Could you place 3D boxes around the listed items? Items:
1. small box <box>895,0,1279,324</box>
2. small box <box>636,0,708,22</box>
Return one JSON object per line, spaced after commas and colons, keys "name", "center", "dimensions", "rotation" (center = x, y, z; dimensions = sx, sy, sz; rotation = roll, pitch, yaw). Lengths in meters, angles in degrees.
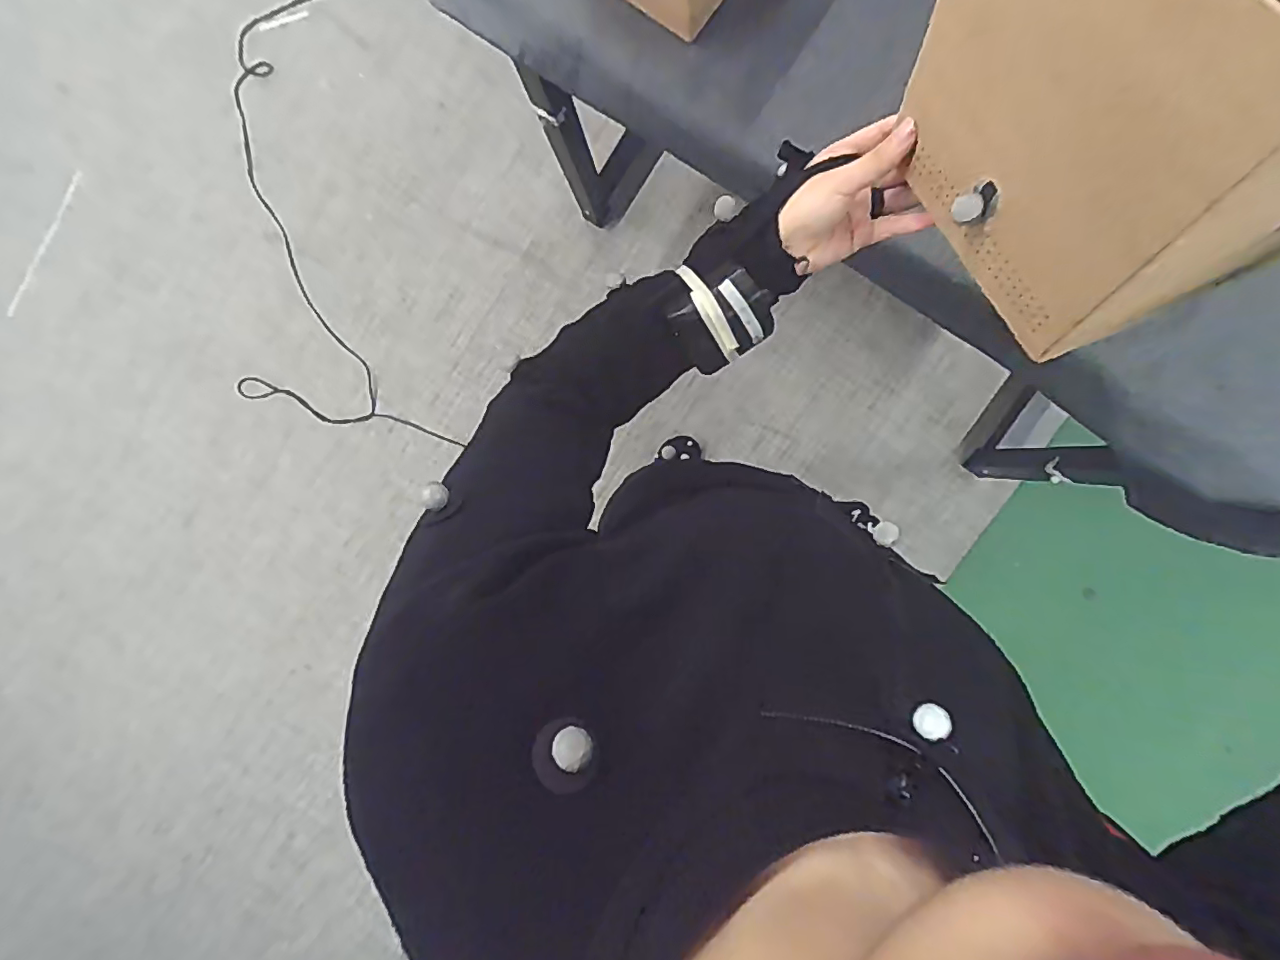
{"name": "small box", "center": [0.252, -0.197, 0.248], "dimensions": [0.168, 0.176, 0.179], "rotation": [-22, 72, 2]}
{"name": "small box", "center": [0.030, -0.614, 0.531], "dimensions": [0.179, 0.176, 0.168], "rotation": [36, 93, 2]}
